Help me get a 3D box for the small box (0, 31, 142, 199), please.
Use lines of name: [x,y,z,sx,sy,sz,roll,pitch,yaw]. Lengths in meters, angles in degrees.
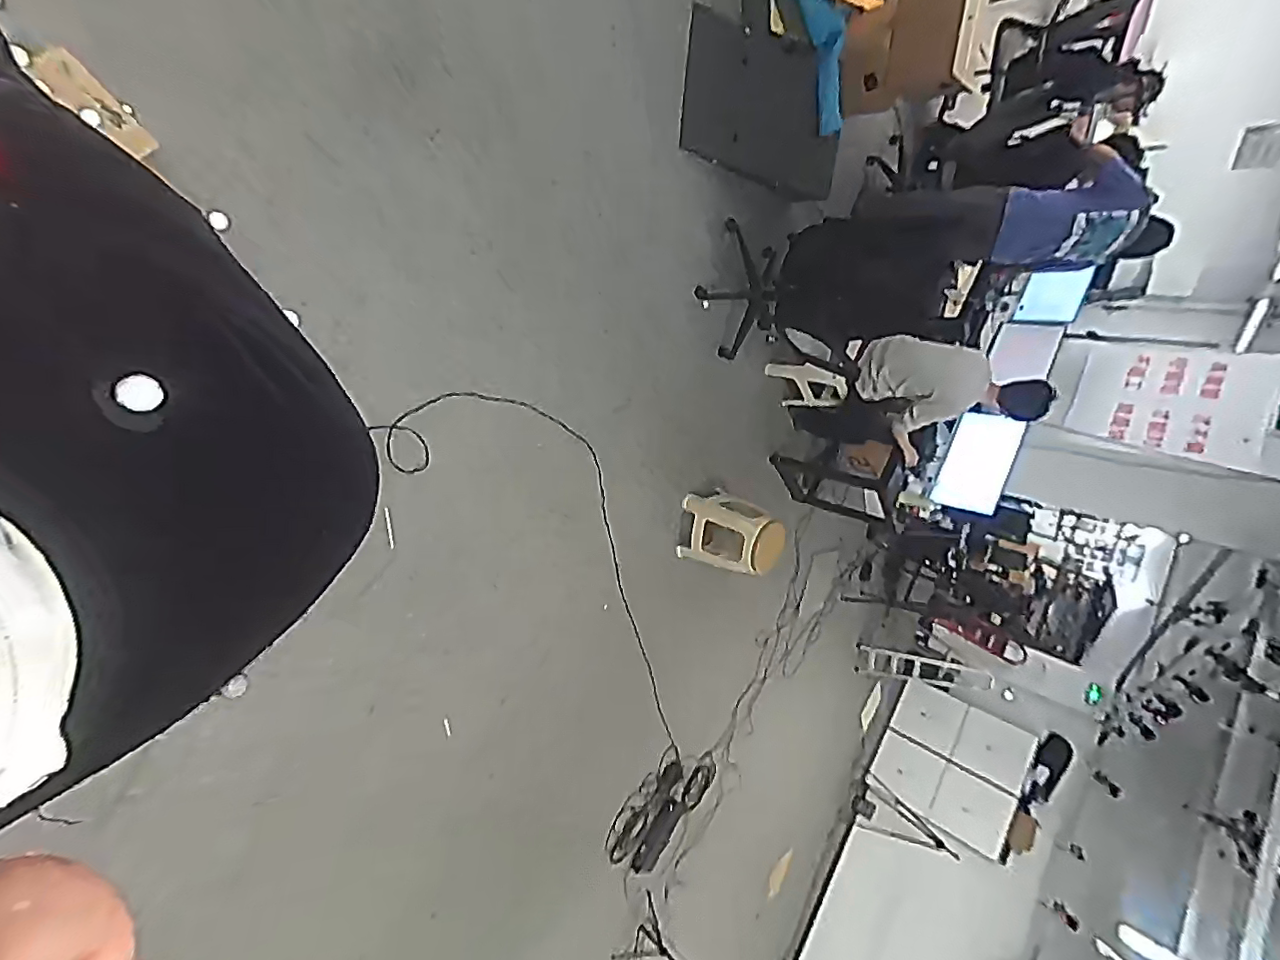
small box: [-1.024,-0.624,0.955,0.179,0.176,0.168,14,91,-49]
